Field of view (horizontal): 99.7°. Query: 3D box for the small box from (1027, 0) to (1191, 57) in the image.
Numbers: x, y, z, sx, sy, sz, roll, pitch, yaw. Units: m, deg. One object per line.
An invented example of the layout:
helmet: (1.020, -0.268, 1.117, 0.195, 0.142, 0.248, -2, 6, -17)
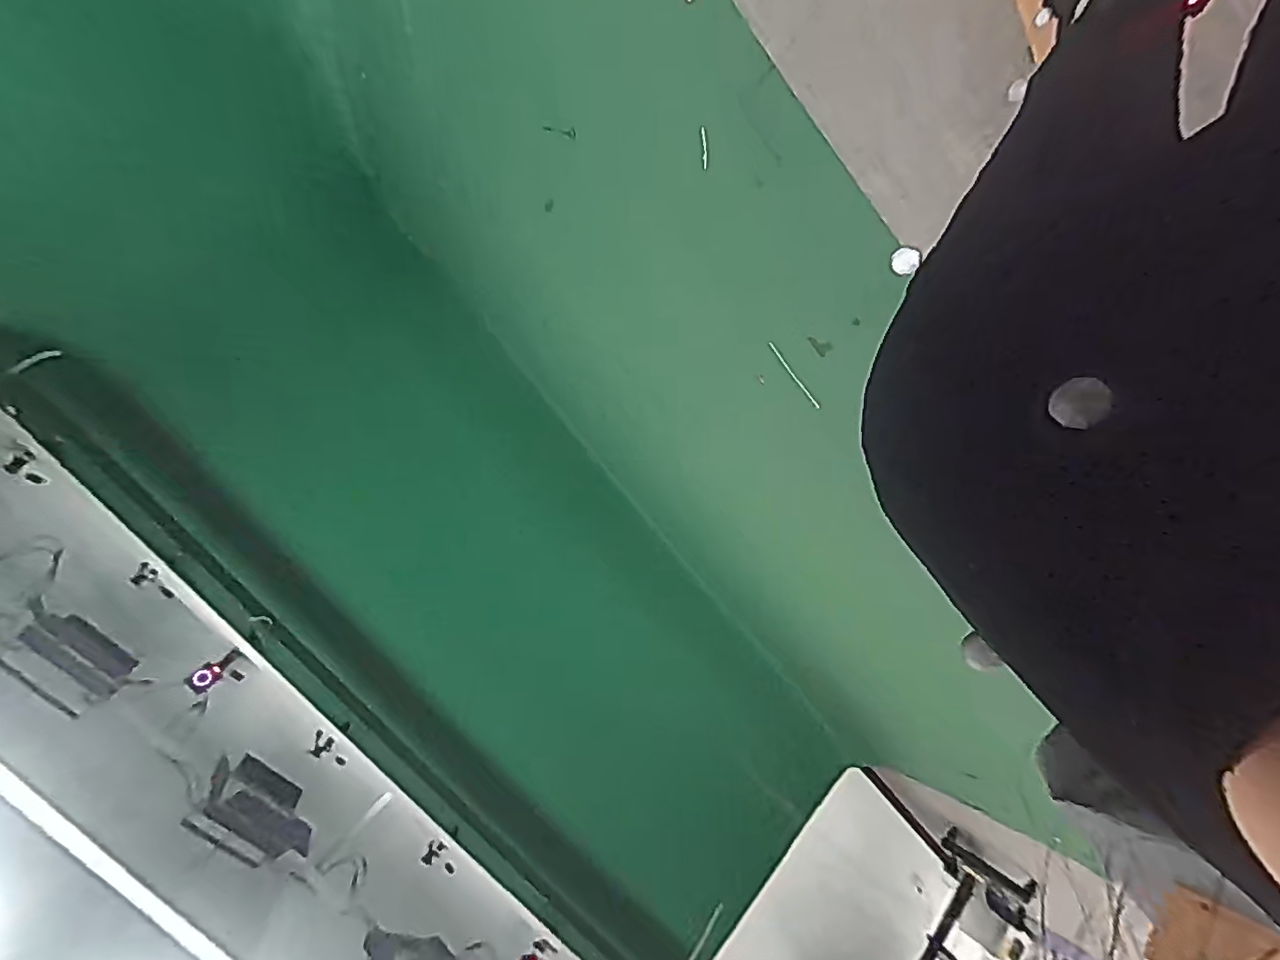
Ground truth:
small box: (0.429, -0.529, 0.462, 0.168, 0.176, 0.179, -2, 87, 44)
